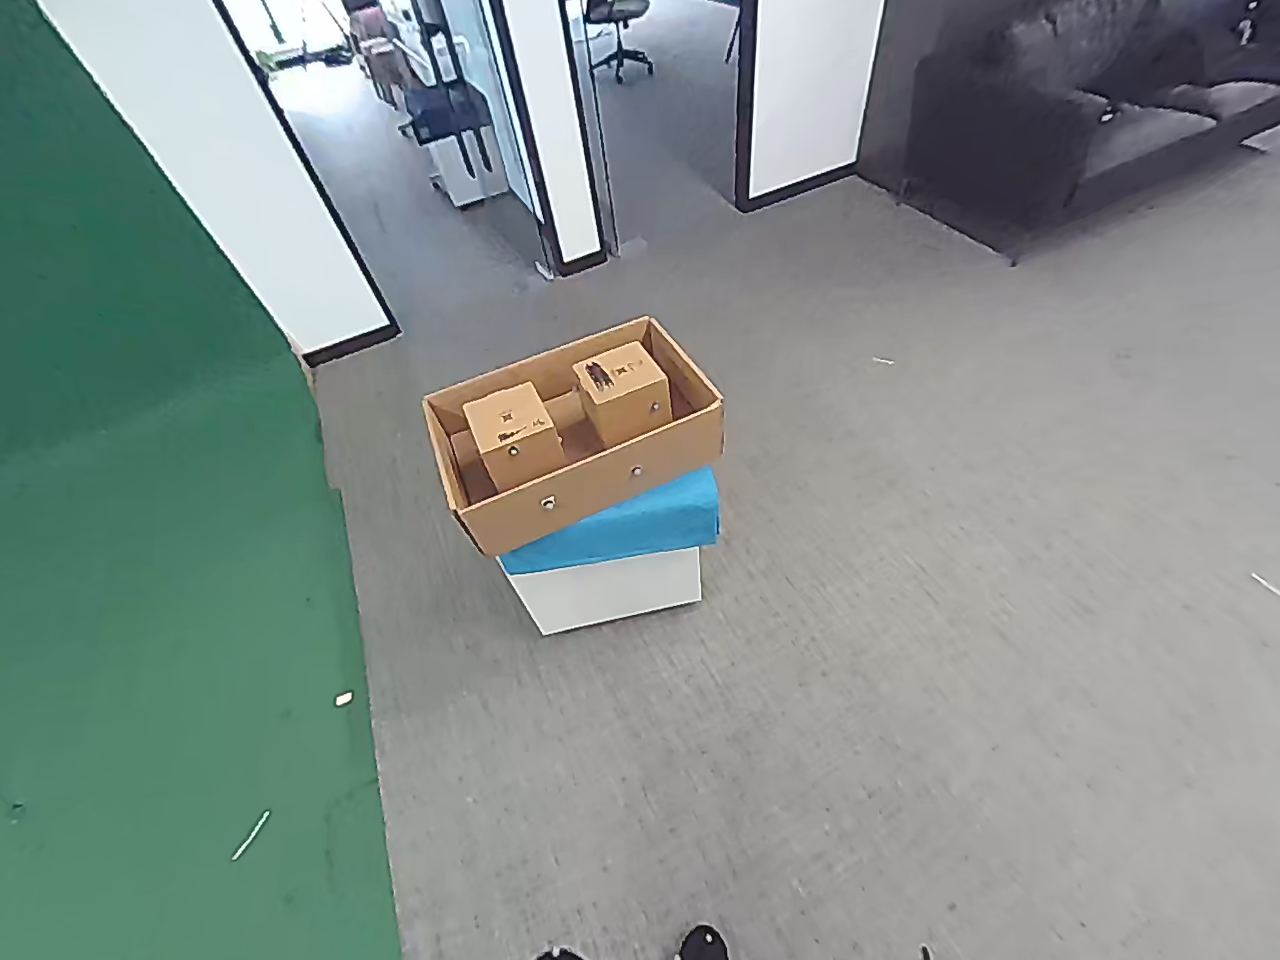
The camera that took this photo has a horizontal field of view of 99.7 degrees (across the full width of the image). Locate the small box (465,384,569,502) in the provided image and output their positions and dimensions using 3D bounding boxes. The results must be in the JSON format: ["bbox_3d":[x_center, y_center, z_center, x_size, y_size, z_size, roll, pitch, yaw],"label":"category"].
[{"bbox_3d":[-0.277,-0.083,1.236,0.168,0.176,0.179,-24,50,-11],"label":"small box"}]
